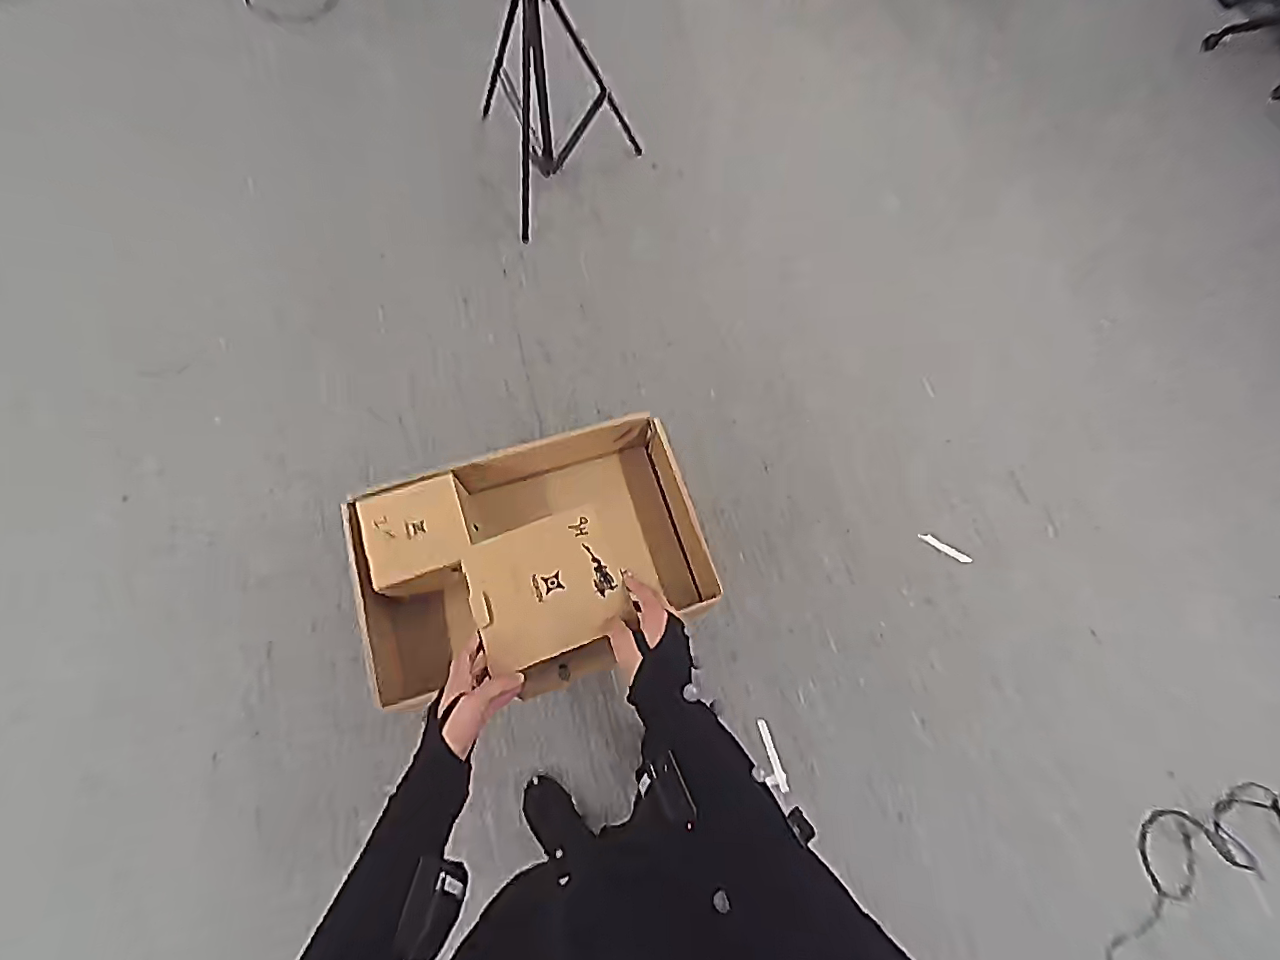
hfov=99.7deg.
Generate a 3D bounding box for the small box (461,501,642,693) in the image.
[{"bbox_3d":[-0.106,0.158,0.701,0.179,0.176,0.168,-20,62,-8],"label":"small box"}]

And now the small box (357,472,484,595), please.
[{"bbox_3d":[-0.398,0.106,1.022,0.179,0.176,0.168,-18,73,-9],"label":"small box"}]
